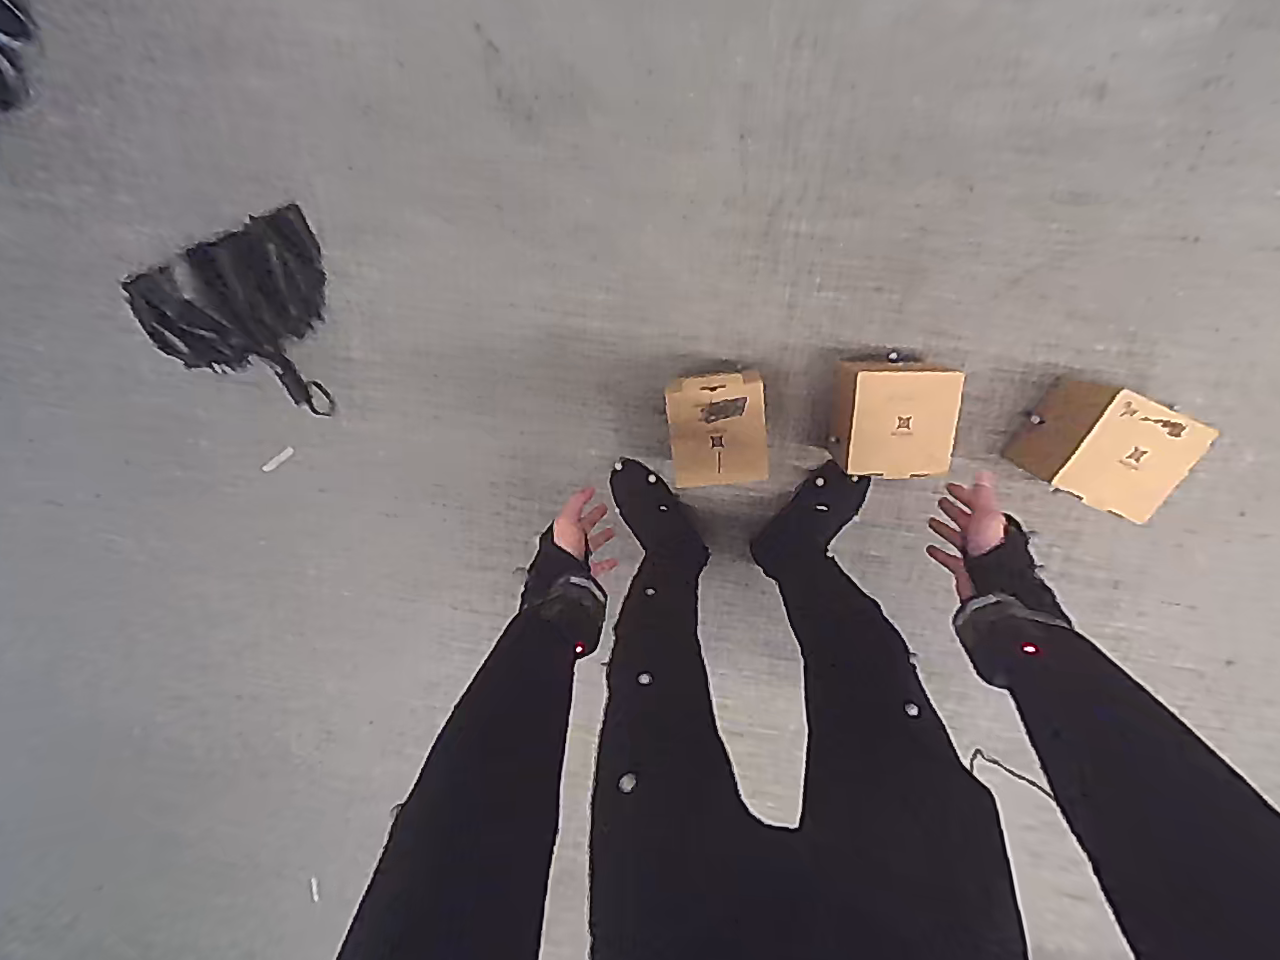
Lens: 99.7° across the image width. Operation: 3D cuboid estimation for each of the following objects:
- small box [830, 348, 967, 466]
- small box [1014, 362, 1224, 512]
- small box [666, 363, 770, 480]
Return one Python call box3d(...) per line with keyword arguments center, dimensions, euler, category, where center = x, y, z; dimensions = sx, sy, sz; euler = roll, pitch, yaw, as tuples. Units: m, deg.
box3d(center=(0.435, -0.132, 0.942), dimensions=(0.168, 0.176, 0.179), euler=(0, 108, 6), category="small box")
box3d(center=(0.780, -0.080, 0.912), dimensions=(0.168, 0.176, 0.179), euler=(25, 111, 0), category="small box")
box3d(center=(0.141, -0.114, 0.984), dimensions=(0.168, 0.176, 0.179), euler=(-5, 109, 10), category="small box")
